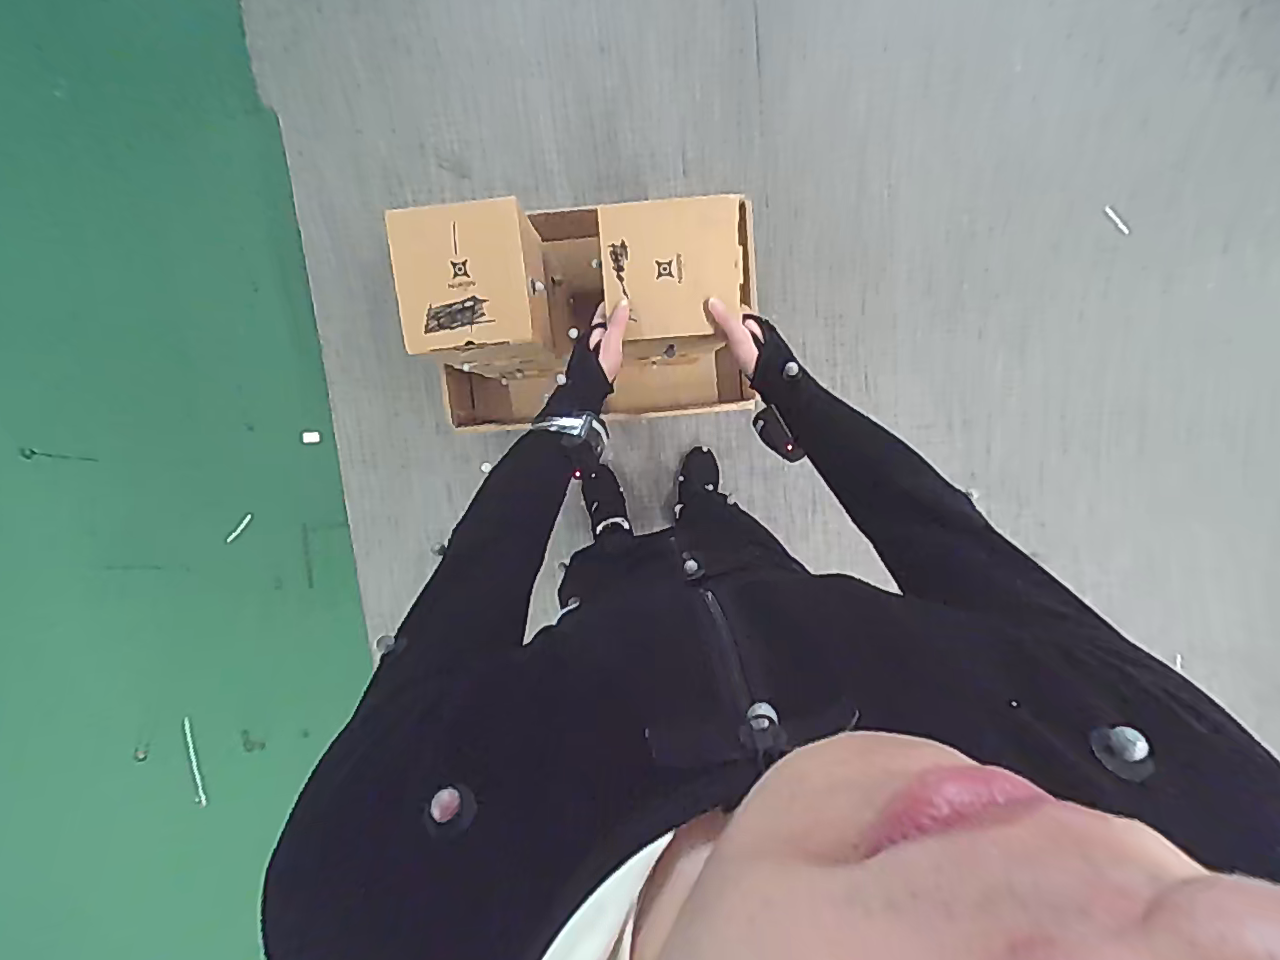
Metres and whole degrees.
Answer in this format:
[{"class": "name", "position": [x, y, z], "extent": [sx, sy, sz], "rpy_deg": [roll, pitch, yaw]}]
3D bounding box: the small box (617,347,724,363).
[{"class": "small box", "position": [0.043, -0.288, 0.910], "extent": [0.179, 0.176, 0.168], "rpy_deg": [-3, 99, 0]}]

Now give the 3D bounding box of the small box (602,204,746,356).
[{"class": "small box", "position": [0.042, -0.265, 0.748], "extent": [0.179, 0.176, 0.168], "rpy_deg": [-4, 98, 0]}]

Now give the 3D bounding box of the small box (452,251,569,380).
[{"class": "small box", "position": [-0.215, -0.267, 0.910], "extent": [0.168, 0.176, 0.179], "rpy_deg": [-4, 97, 1]}]

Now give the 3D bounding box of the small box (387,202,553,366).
[{"class": "small box", "position": [-0.220, -0.254, 0.745], "extent": [0.168, 0.176, 0.179], "rpy_deg": [-6, 96, 0]}]
